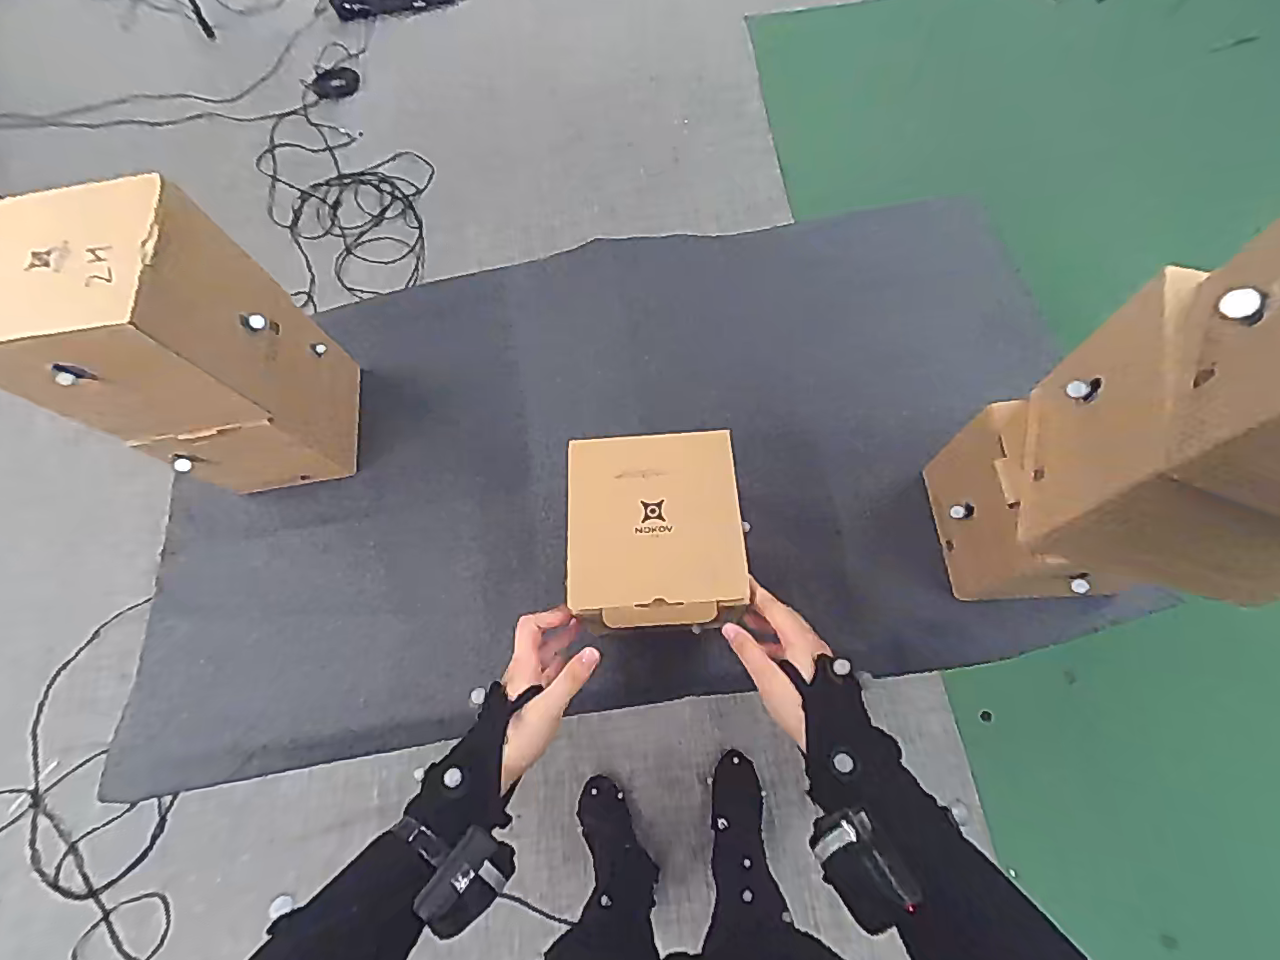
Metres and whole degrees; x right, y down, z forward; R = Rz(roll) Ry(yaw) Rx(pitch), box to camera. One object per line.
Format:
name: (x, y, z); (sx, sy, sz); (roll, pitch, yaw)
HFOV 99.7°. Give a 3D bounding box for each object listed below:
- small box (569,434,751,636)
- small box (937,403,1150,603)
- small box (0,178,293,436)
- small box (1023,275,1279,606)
small box: (0.019, 0.070, 0.587); (0.168, 0.176, 0.179); (-5, 67, 1)
small box: (0.436, 0.030, 0.562); (0.179, 0.176, 0.168); (-4, 67, 5)
small box: (-0.489, -0.156, 0.535); (0.179, 0.176, 0.168); (-9, 71, 1)
small box: (0.427, -0.017, 0.405); (0.179, 0.176, 0.168); (17, 70, 11)
